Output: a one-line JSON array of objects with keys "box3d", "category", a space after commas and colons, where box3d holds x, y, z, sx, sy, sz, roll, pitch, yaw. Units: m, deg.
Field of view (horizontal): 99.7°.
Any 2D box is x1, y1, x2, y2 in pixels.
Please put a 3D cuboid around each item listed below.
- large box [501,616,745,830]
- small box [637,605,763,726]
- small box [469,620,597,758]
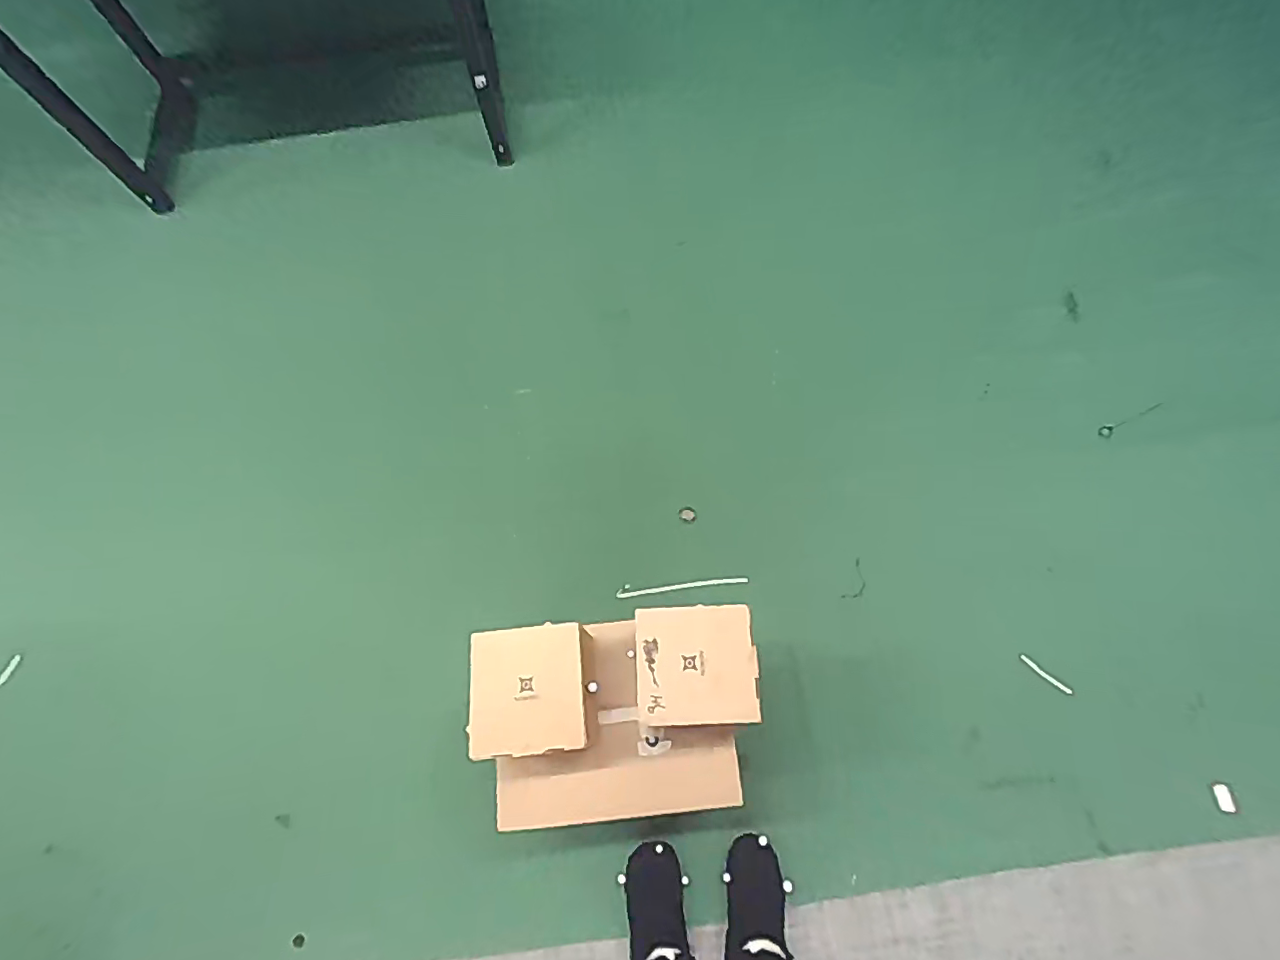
[{"box3d": [-0.040, 0.450, 1.060, 0.408, 0.320, 0.320, -7, 69, -1], "category": "large box"}, {"box3d": [0.086, 0.293, 0.852, 0.179, 0.176, 0.168, -2, 68, 2], "category": "small box"}, {"box3d": [-0.161, 0.328, 0.852, 0.168, 0.176, 0.179, -6, 68, 0], "category": "small box"}]
